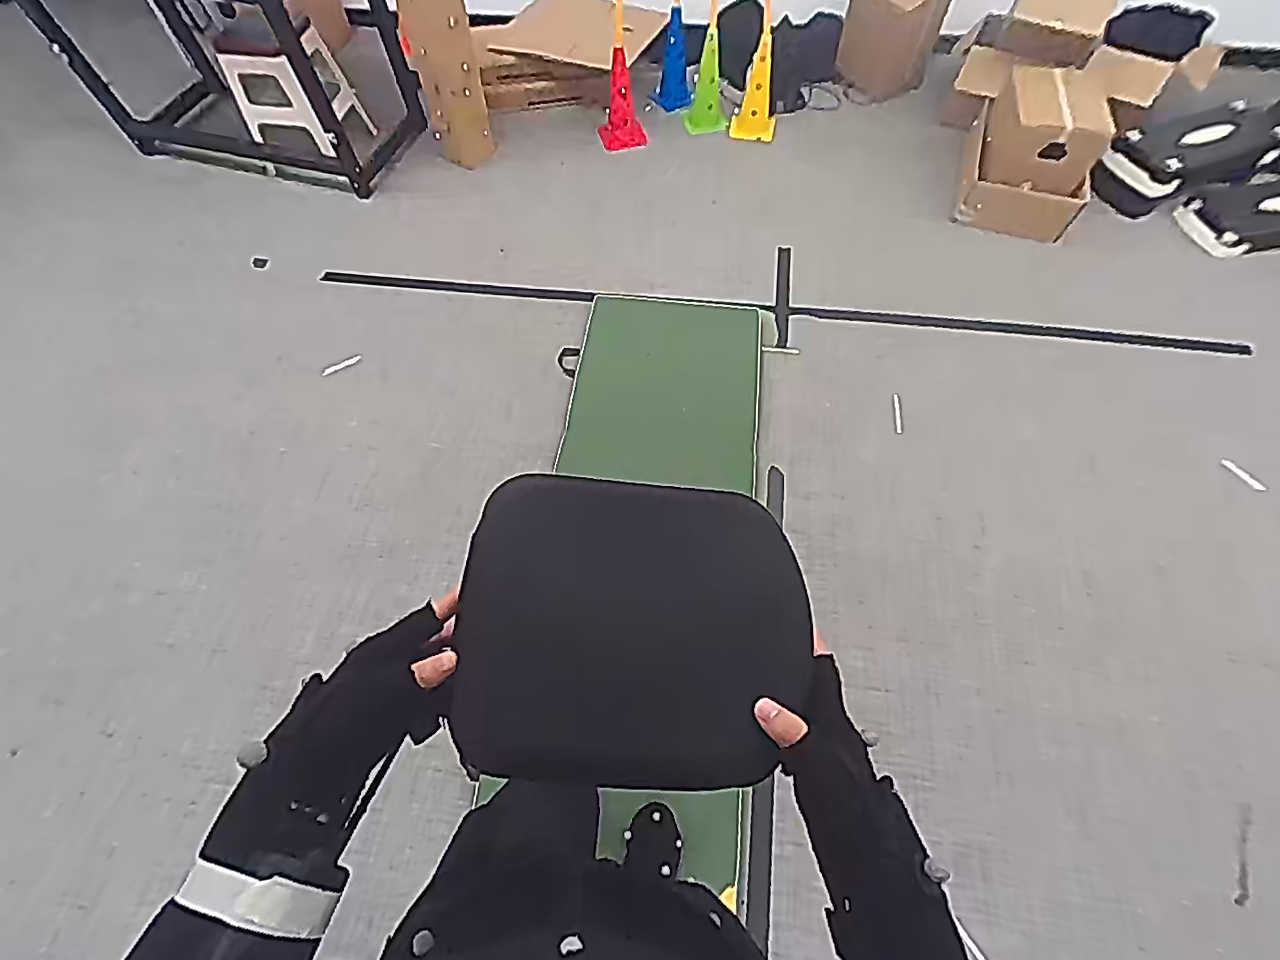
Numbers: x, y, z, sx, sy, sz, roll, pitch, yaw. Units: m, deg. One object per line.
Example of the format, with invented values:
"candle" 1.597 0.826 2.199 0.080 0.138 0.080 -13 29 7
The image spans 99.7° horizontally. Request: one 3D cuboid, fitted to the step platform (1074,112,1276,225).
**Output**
"step platform" 2.198 -1.287 2.226 0.684 0.204 0.286 -20 64 -9
